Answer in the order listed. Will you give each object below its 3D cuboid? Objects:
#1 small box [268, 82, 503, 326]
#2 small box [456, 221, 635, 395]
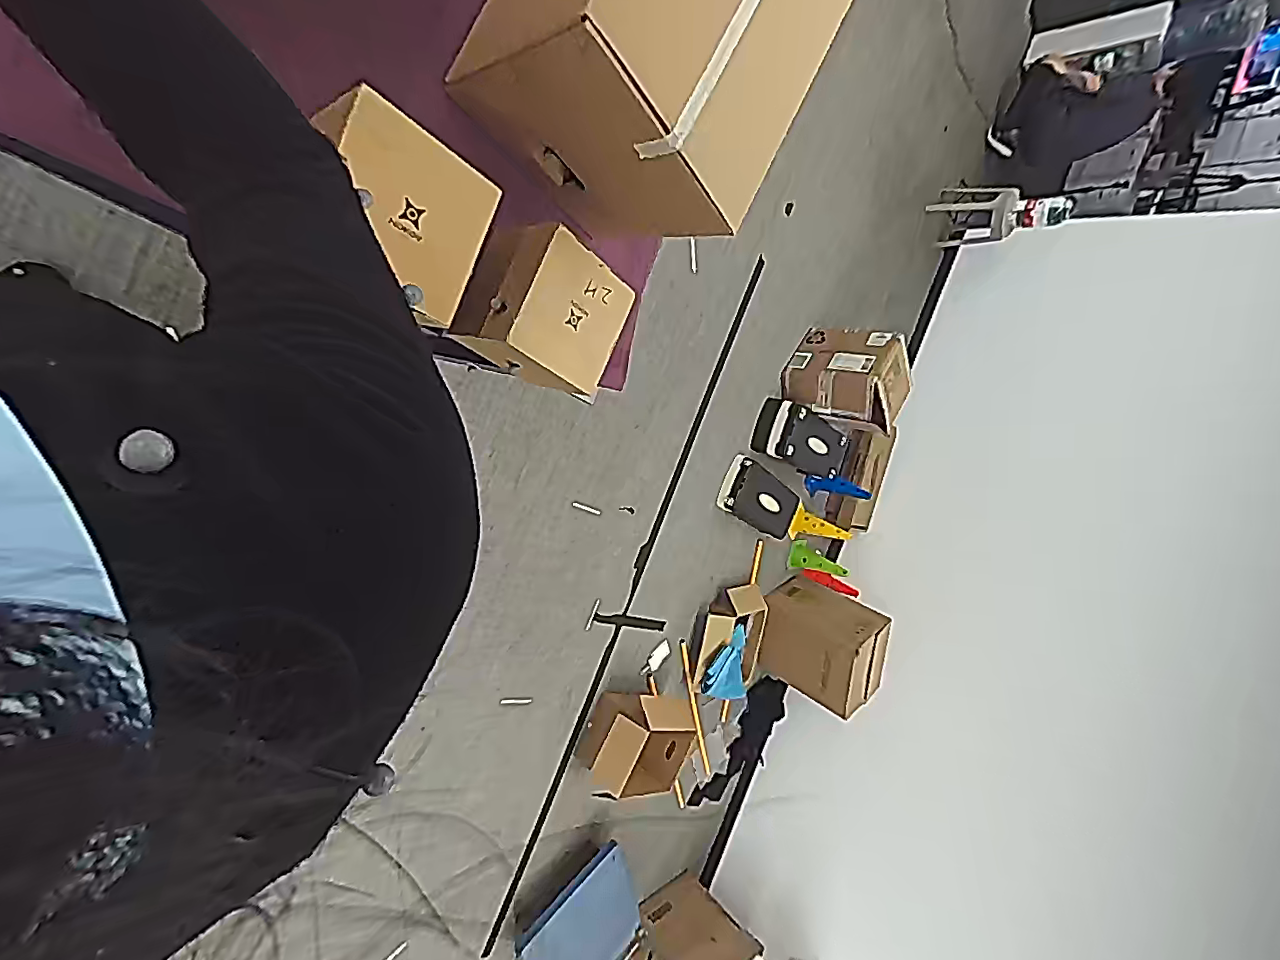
[{"bbox_3d":[-0.295,-0.300,0.621,0.168,0.176,0.179,22,90,-48],"label":"small box"},{"bbox_3d":[-0.144,-0.247,0.796,0.168,0.176,0.179,29,82,-48],"label":"small box"}]
